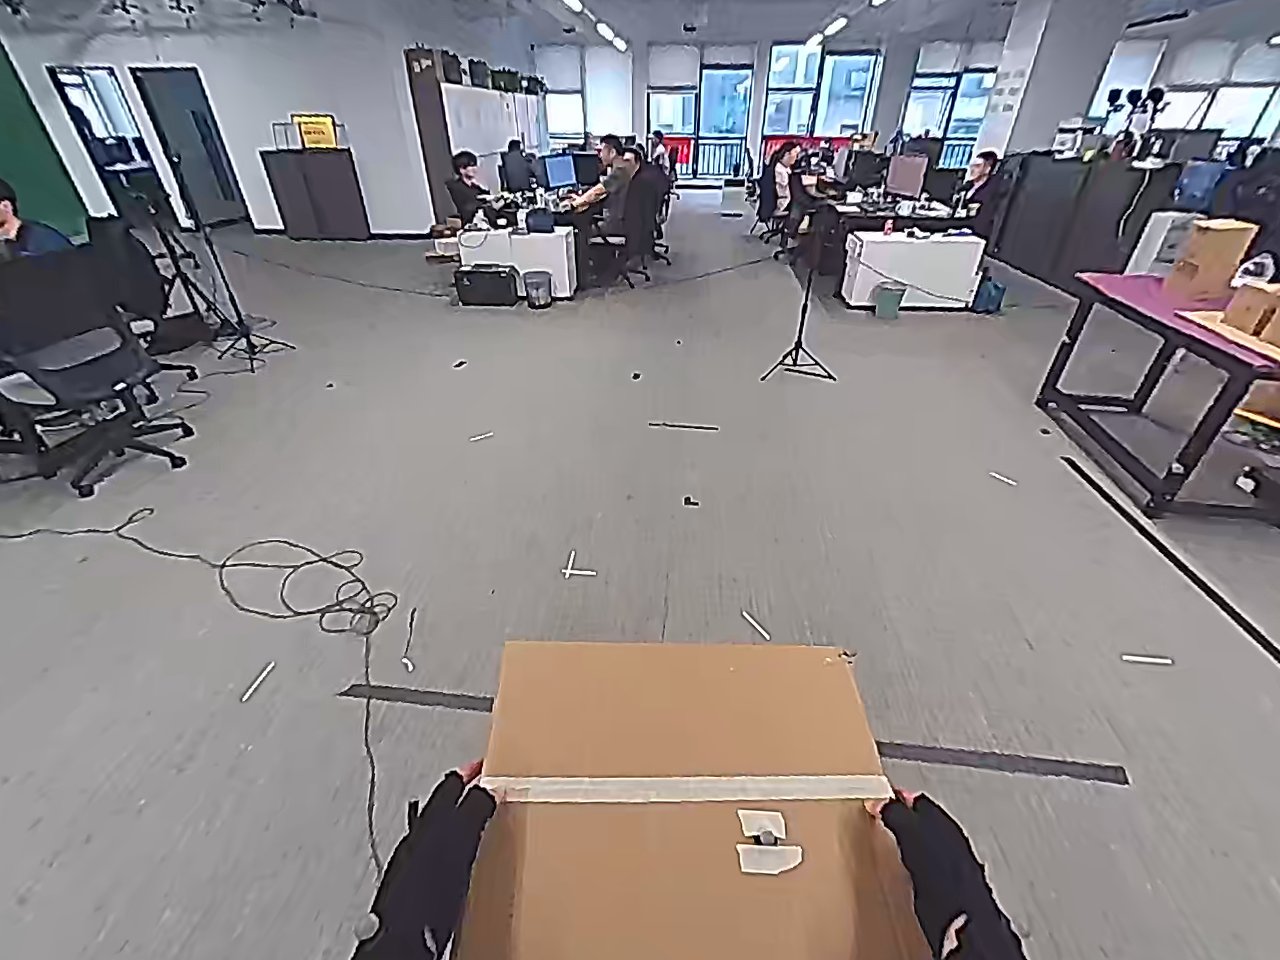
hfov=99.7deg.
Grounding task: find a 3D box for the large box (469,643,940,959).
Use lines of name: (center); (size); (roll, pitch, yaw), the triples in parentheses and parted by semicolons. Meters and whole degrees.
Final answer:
large box: (0.041, 0.413, 0.647); (0.408, 0.320, 0.320); (2, 44, -4)
